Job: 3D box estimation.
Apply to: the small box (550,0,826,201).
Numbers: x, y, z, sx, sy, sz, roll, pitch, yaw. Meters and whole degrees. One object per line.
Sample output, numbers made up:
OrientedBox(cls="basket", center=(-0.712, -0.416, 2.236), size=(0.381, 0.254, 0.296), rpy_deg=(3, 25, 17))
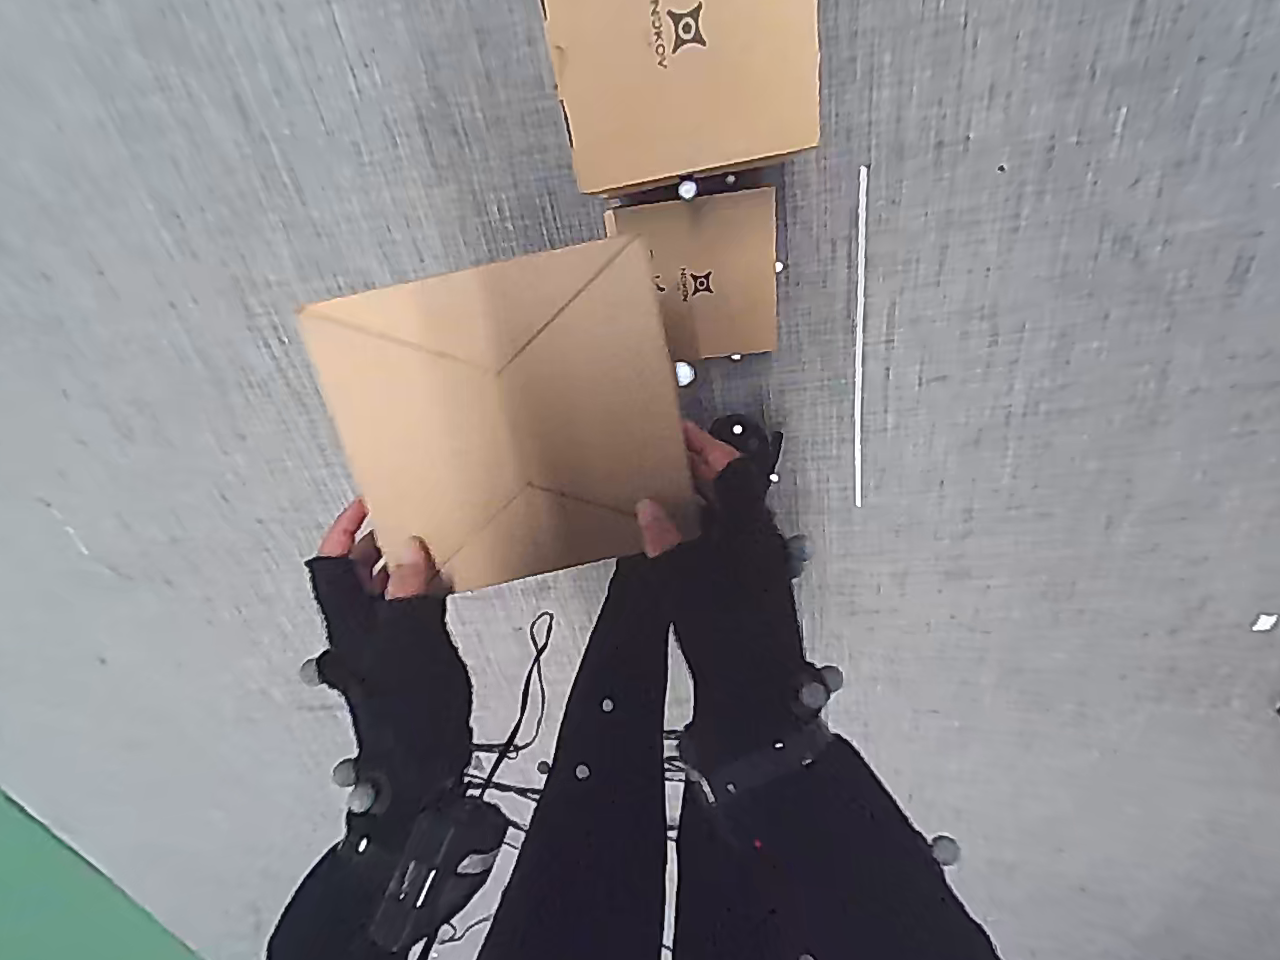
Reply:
OrientedBox(cls="small box", center=(0.040, -0.329, 0.427), size=(0.179, 0.176, 0.168), rpy_deg=(-6, 117, 11))

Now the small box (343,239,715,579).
OrientedBox(cls="small box", center=(-0.061, -0.049, 0.363), size=(0.179, 0.176, 0.168), rpy_deg=(-11, 104, 0))
